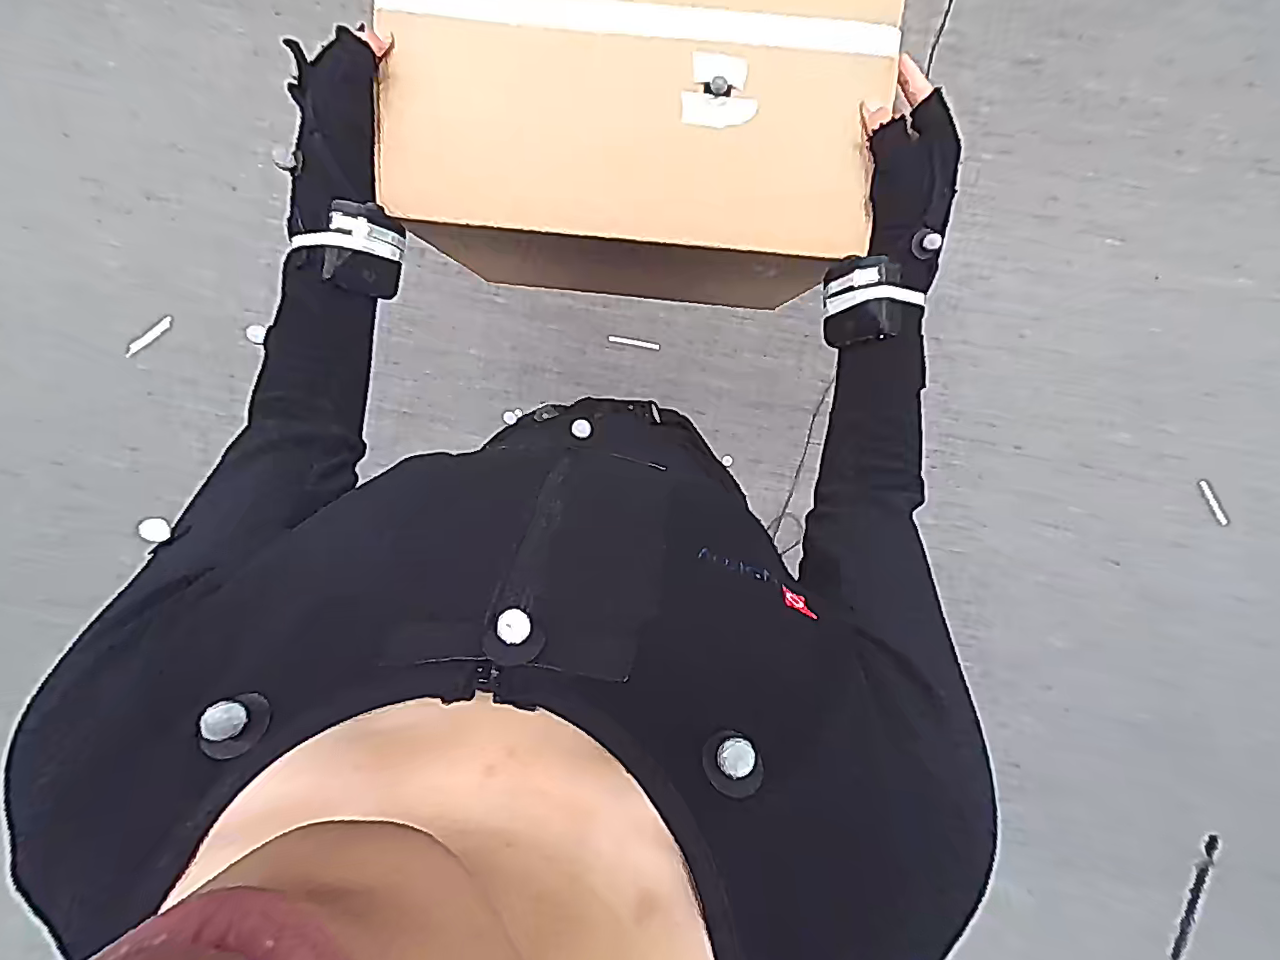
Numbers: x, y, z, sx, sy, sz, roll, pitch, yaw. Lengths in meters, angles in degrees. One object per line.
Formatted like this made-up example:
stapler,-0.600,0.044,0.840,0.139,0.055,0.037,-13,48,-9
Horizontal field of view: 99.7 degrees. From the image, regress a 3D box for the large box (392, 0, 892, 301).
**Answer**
large box,-0.002,-0.386,0.581,0.408,0.320,0.320,5,101,-1
